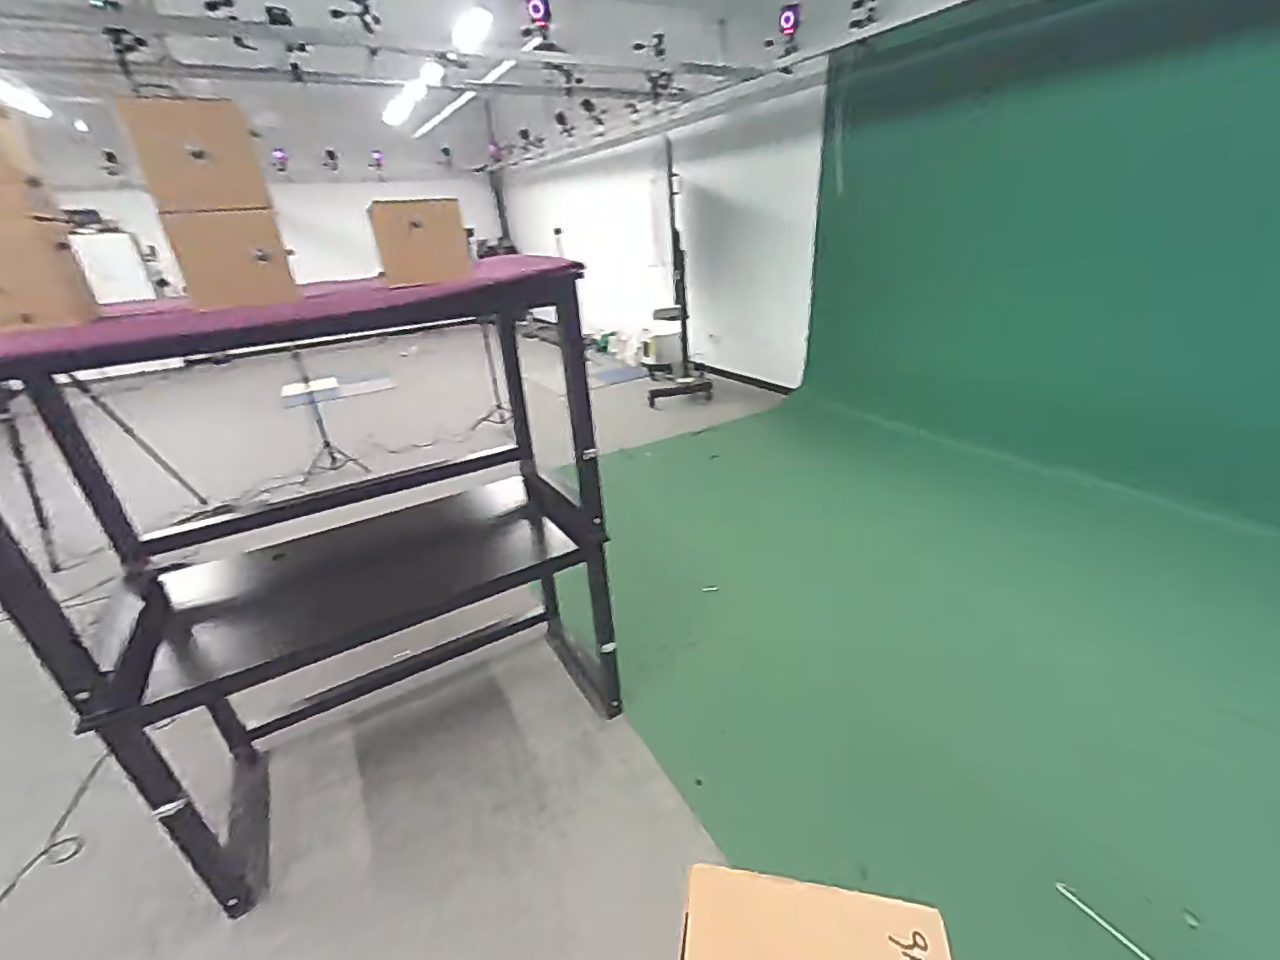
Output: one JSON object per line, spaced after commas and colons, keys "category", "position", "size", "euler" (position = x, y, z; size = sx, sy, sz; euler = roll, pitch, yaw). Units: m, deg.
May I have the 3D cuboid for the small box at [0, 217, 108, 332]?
{"category": "small box", "position": [-1.044, -0.340, 0.901], "size": [0.168, 0.176, 0.179], "euler": [-17, 29, -28]}

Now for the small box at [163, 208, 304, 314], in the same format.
{"category": "small box", "position": [-0.773, -0.427, 1.051], "size": [0.179, 0.176, 0.168], "euler": [-19, 29, -27]}

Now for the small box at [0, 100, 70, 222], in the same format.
{"category": "small box", "position": [-1.051, -0.487, 0.831], "size": [0.179, 0.176, 0.168], "euler": [-17, 30, -28]}

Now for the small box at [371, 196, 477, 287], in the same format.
{"category": "small box", "position": [-0.487, -0.533, 1.221], "size": [0.179, 0.176, 0.168], "euler": [-17, 26, -25]}
